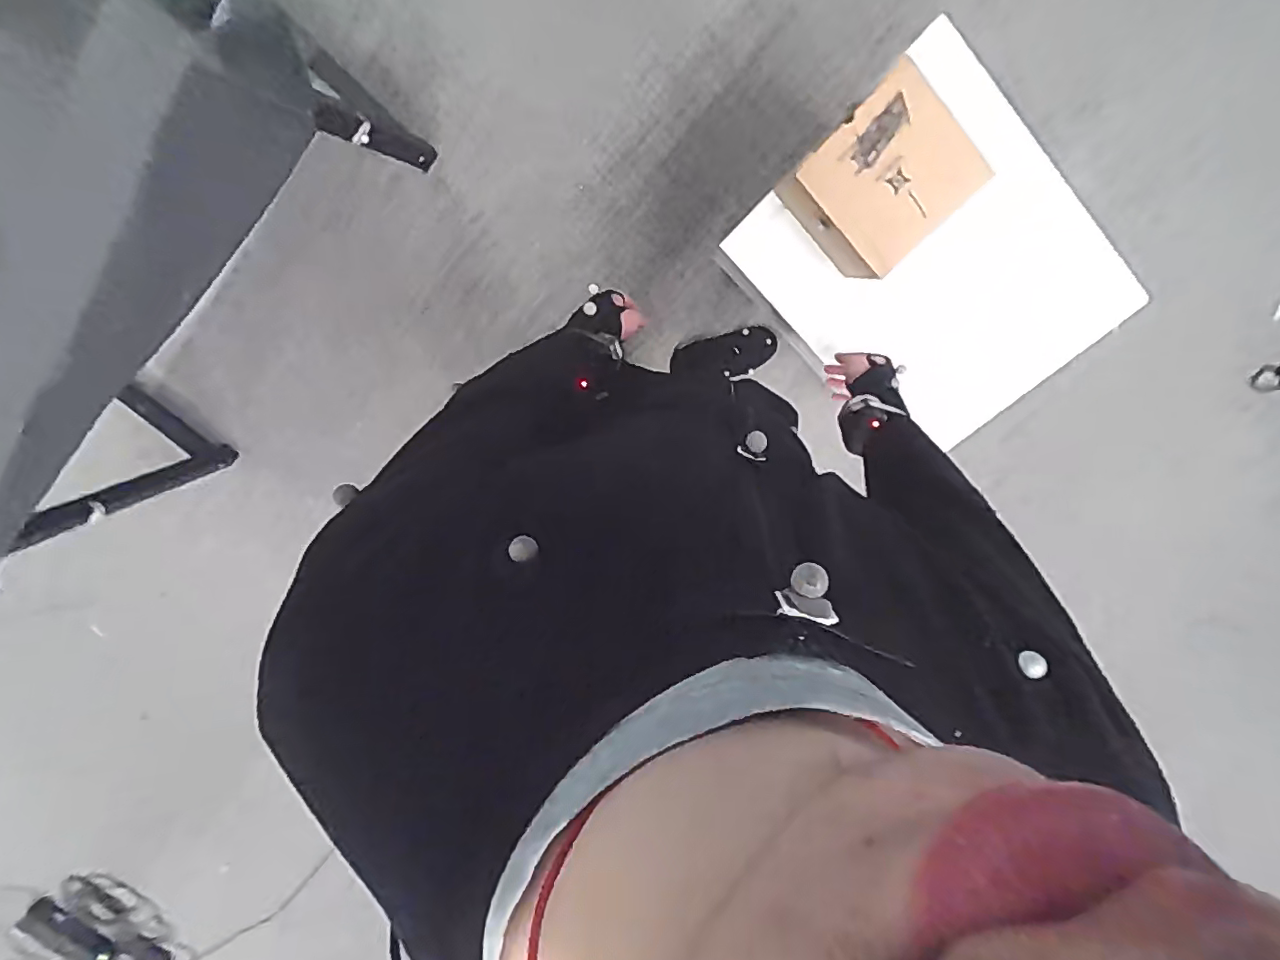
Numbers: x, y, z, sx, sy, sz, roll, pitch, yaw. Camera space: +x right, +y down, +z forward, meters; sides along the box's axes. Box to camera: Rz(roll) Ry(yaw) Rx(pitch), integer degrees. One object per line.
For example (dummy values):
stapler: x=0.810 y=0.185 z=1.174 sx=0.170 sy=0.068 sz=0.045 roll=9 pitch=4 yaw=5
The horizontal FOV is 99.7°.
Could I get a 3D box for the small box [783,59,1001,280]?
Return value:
small box: x=0.312 y=-0.386 z=0.712 sx=0.168 sy=0.176 sz=0.179 roll=-42 pitch=104 yaw=18
